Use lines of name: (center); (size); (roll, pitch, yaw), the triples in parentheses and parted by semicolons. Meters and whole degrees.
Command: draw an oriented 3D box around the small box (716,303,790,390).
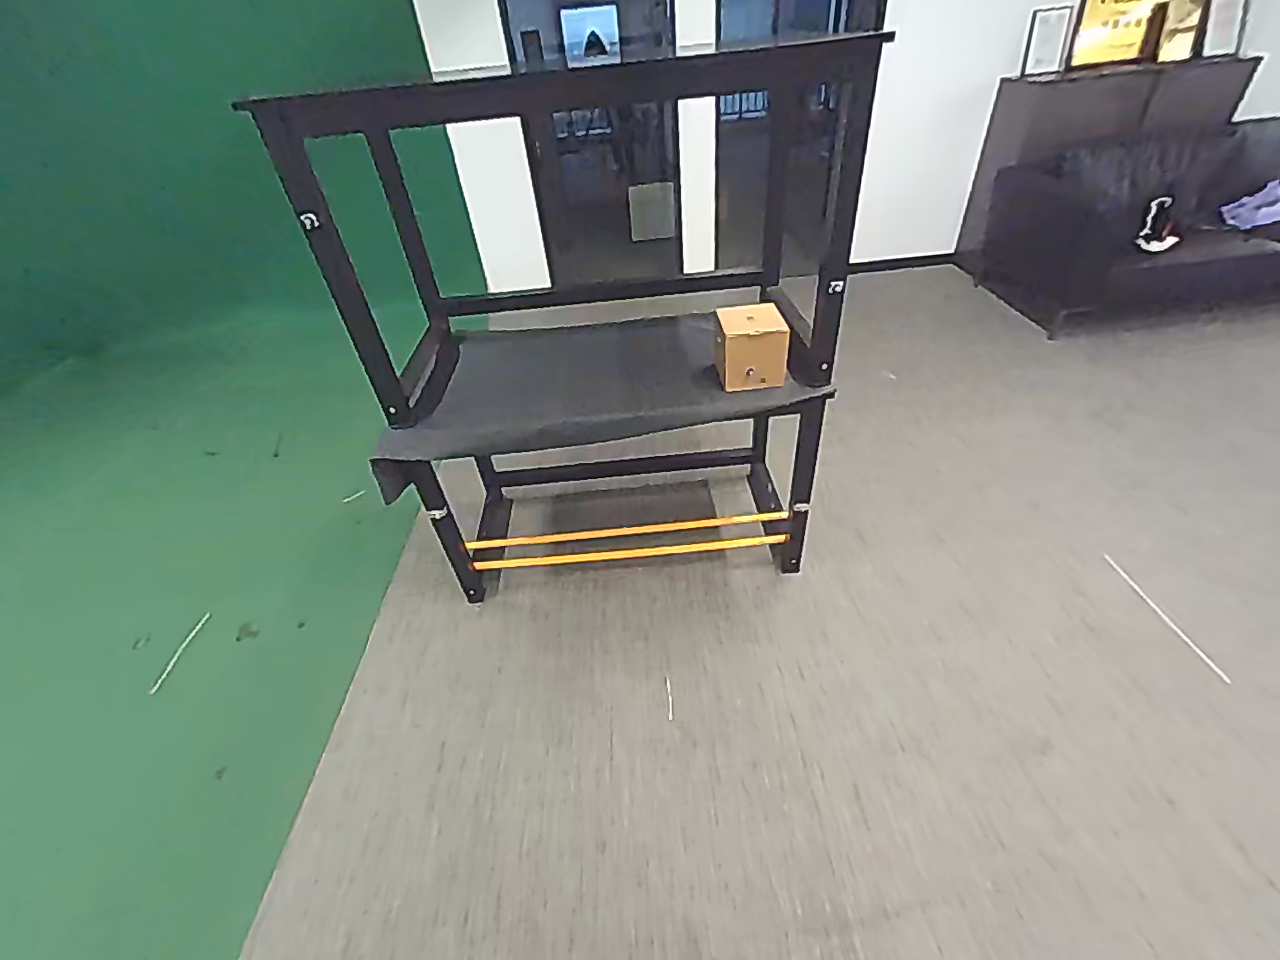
small box: (0.303, -0.367, 1.486); (0.168, 0.176, 0.179); (-6, 39, 1)
